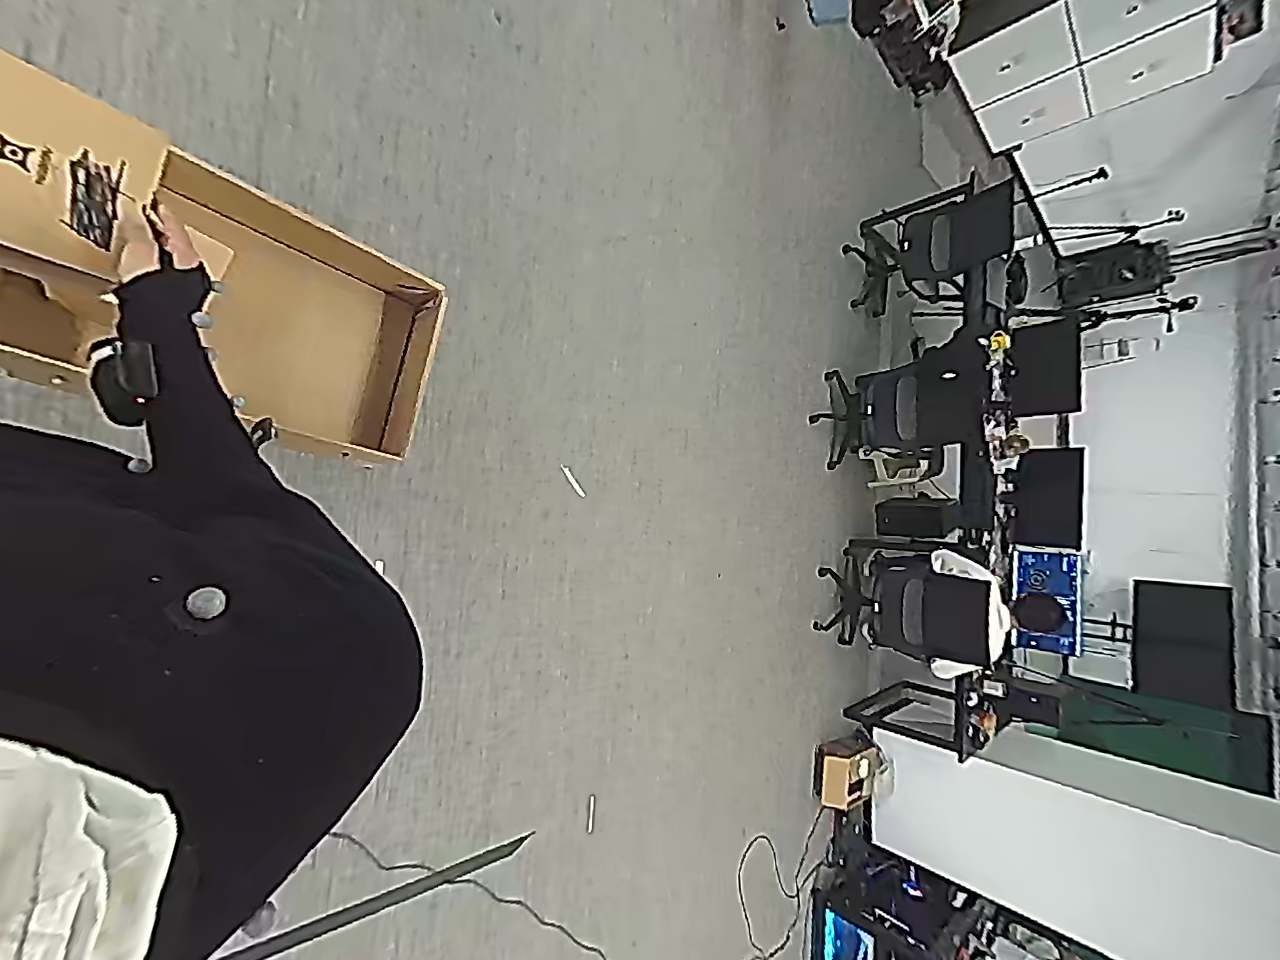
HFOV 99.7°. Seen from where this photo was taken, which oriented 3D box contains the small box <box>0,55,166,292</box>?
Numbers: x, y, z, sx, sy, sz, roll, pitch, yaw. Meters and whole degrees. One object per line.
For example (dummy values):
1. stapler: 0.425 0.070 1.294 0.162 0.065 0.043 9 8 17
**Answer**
1. small box: -0.625 -0.301 0.540 0.179 0.176 0.168 15 87 -53
